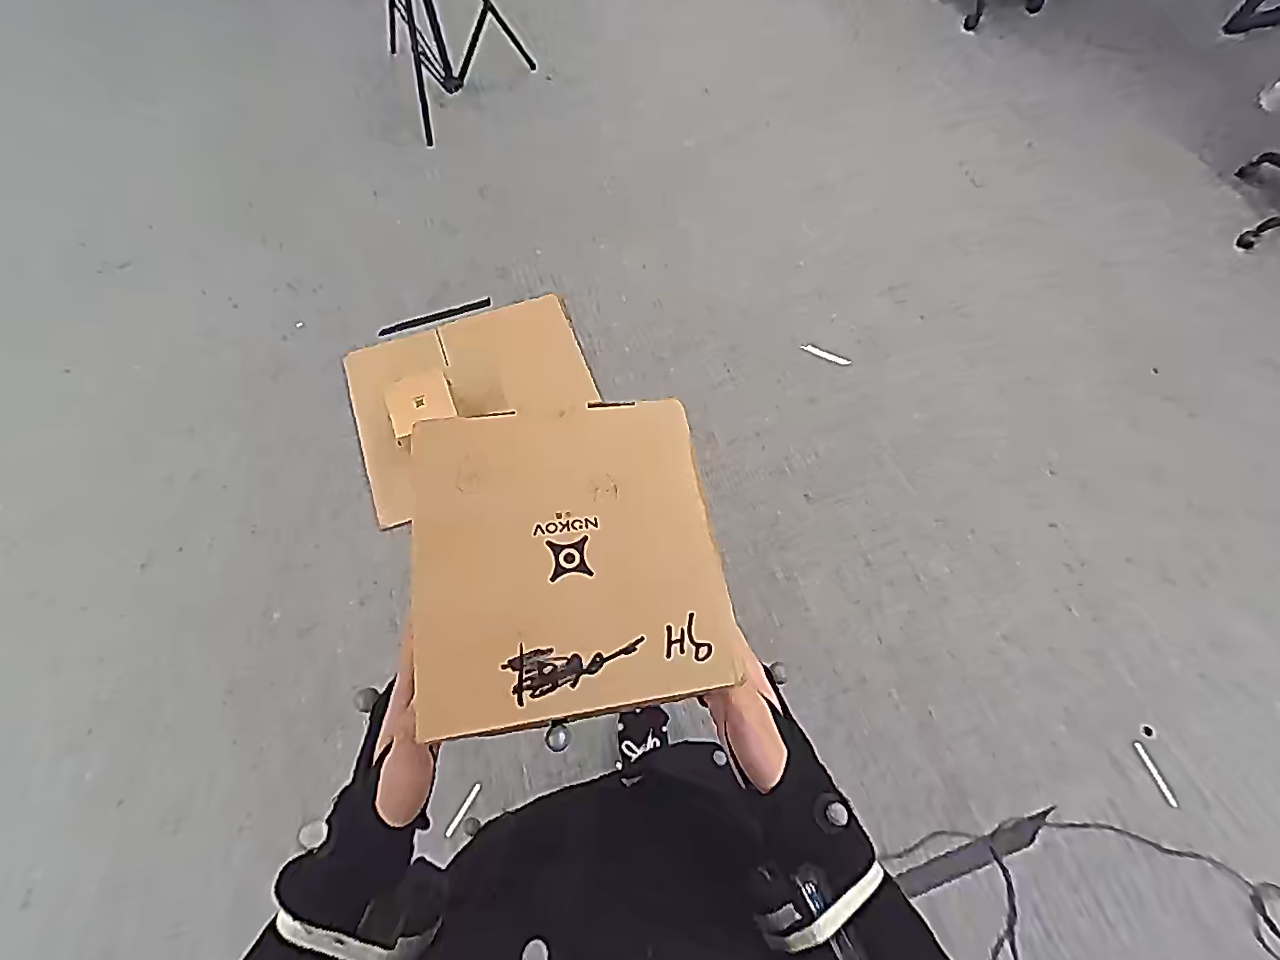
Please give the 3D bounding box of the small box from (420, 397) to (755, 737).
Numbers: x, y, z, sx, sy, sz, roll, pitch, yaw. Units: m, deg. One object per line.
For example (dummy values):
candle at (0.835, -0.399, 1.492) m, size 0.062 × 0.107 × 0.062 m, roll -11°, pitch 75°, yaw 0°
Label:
small box at (-0.042, 0.067, 0.367) m, size 0.168 × 0.176 × 0.179 m, roll -7°, pitch 66°, yaw -8°

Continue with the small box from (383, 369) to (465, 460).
small box at (-0.581, -0.172, 1.504) m, size 0.168 × 0.176 × 0.179 m, roll -22°, pitch 70°, yaw -9°
